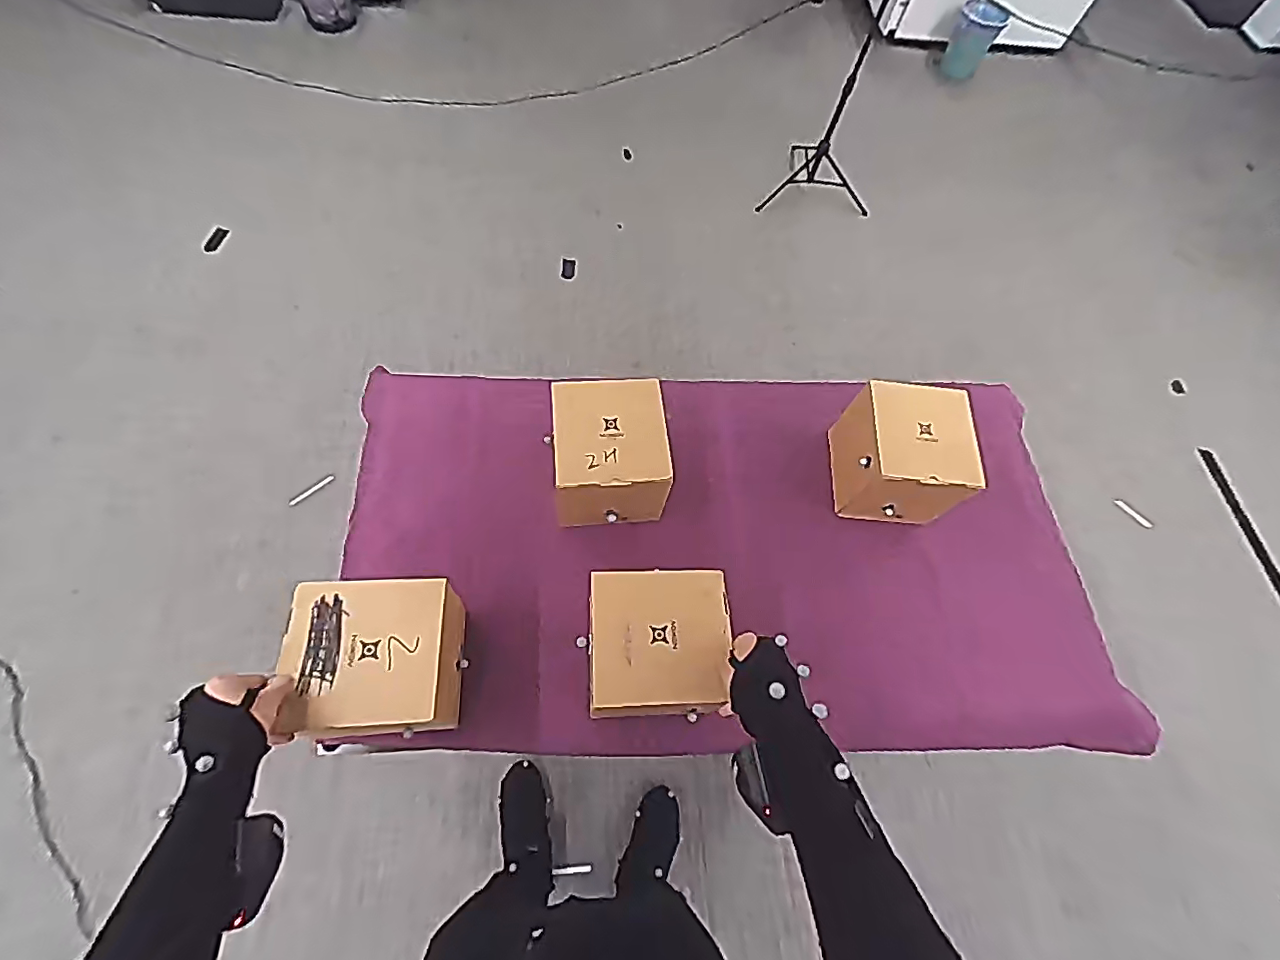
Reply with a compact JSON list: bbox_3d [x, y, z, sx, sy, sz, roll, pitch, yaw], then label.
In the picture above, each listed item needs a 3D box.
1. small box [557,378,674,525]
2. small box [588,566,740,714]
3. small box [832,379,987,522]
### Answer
[{"bbox_3d":[-0.047,-0.042,0.862,0.168,0.176,0.179,-3,66,-7],"label":"small box"},{"bbox_3d":[0.021,0.223,0.738,0.179,0.176,0.168,1,61,-7],"label":"small box"},{"bbox_3d":[0.438,-0.044,0.912,0.168,0.176,0.179,5,66,-3],"label":"small box"}]
